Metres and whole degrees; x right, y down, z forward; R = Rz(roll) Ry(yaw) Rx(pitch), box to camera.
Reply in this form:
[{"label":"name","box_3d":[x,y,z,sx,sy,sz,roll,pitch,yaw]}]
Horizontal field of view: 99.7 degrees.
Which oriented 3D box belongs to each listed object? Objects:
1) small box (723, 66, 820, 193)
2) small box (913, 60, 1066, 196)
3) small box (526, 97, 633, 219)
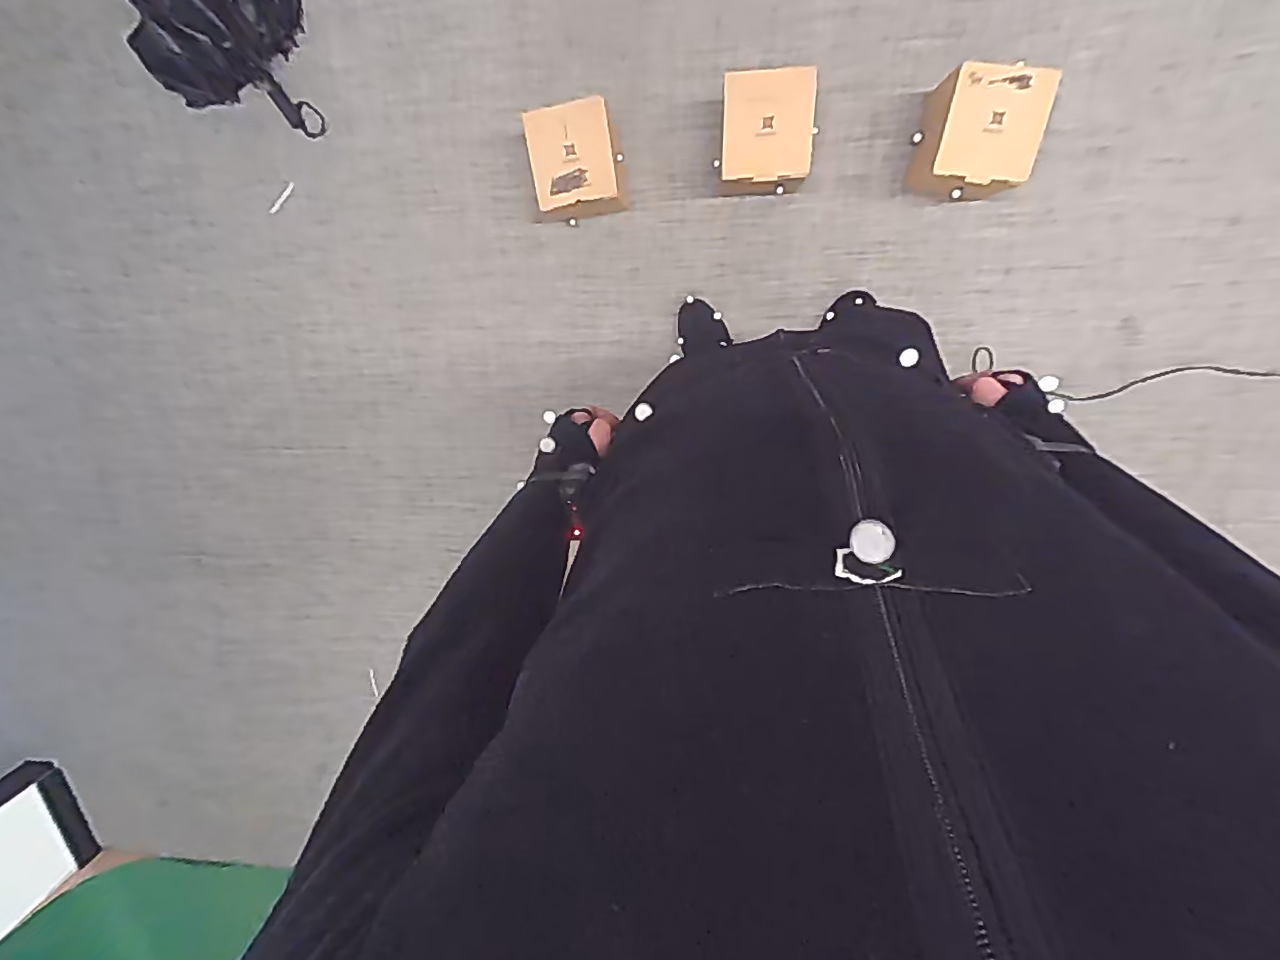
[{"label":"small box","box_3d":[0.250,-0.674,1.064,0.168,0.176,0.179,0,108,7]},{"label":"small box","box_3d":[0.636,-0.646,1.014,0.168,0.176,0.179,10,111,6]},{"label":"small box","box_3d":[-0.116,-0.653,1.124,0.168,0.176,0.179,-6,107,10]}]
